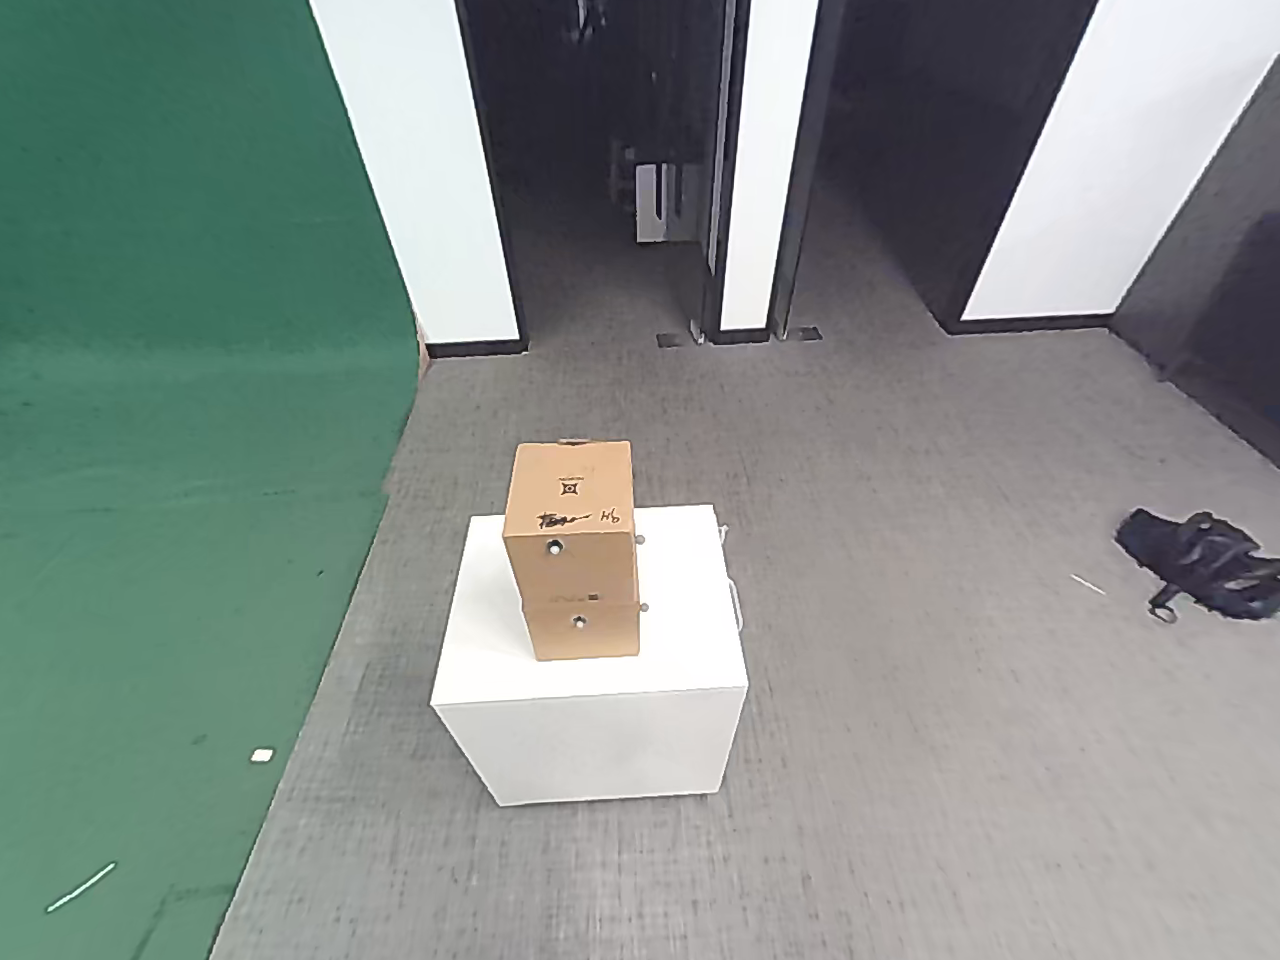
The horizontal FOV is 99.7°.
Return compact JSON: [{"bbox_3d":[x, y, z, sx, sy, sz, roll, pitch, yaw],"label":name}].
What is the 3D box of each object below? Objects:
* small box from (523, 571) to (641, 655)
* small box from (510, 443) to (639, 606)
[{"bbox_3d":[-0.090,0.182,0.912,0.179,0.176,0.168,-2,45,-2],"label":"small box"},{"bbox_3d":[-0.090,0.065,0.802,0.168,0.176,0.179,-3,46,-3],"label":"small box"}]
